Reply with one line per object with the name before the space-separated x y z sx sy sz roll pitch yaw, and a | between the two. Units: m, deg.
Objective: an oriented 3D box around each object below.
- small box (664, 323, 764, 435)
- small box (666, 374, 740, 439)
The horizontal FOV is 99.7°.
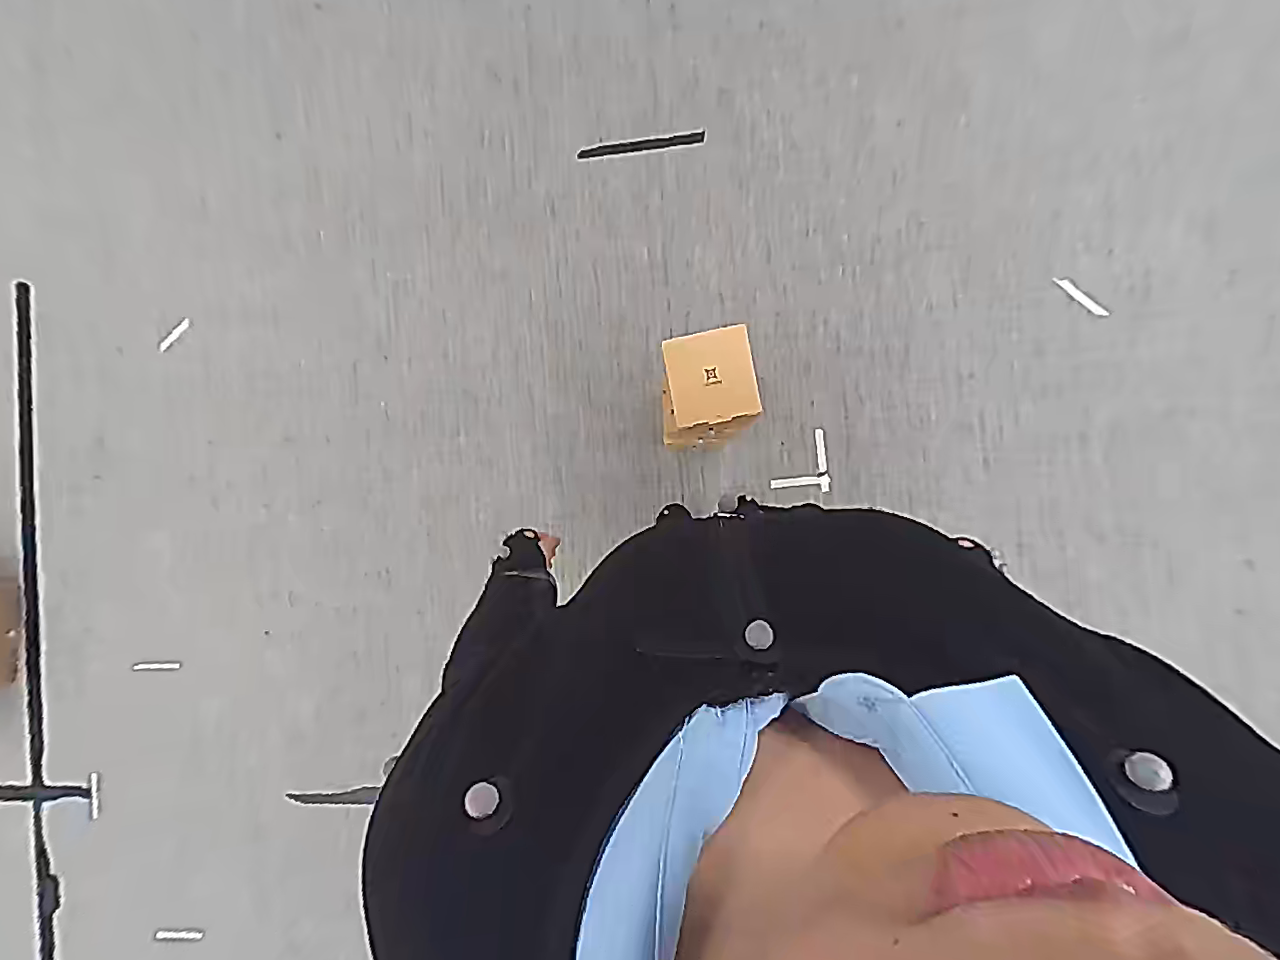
small box | 0.144 -0.197 1.101 0.168 0.176 0.179 -11 88 5
small box | 0.147 -0.192 1.264 0.168 0.176 0.179 1 89 6
